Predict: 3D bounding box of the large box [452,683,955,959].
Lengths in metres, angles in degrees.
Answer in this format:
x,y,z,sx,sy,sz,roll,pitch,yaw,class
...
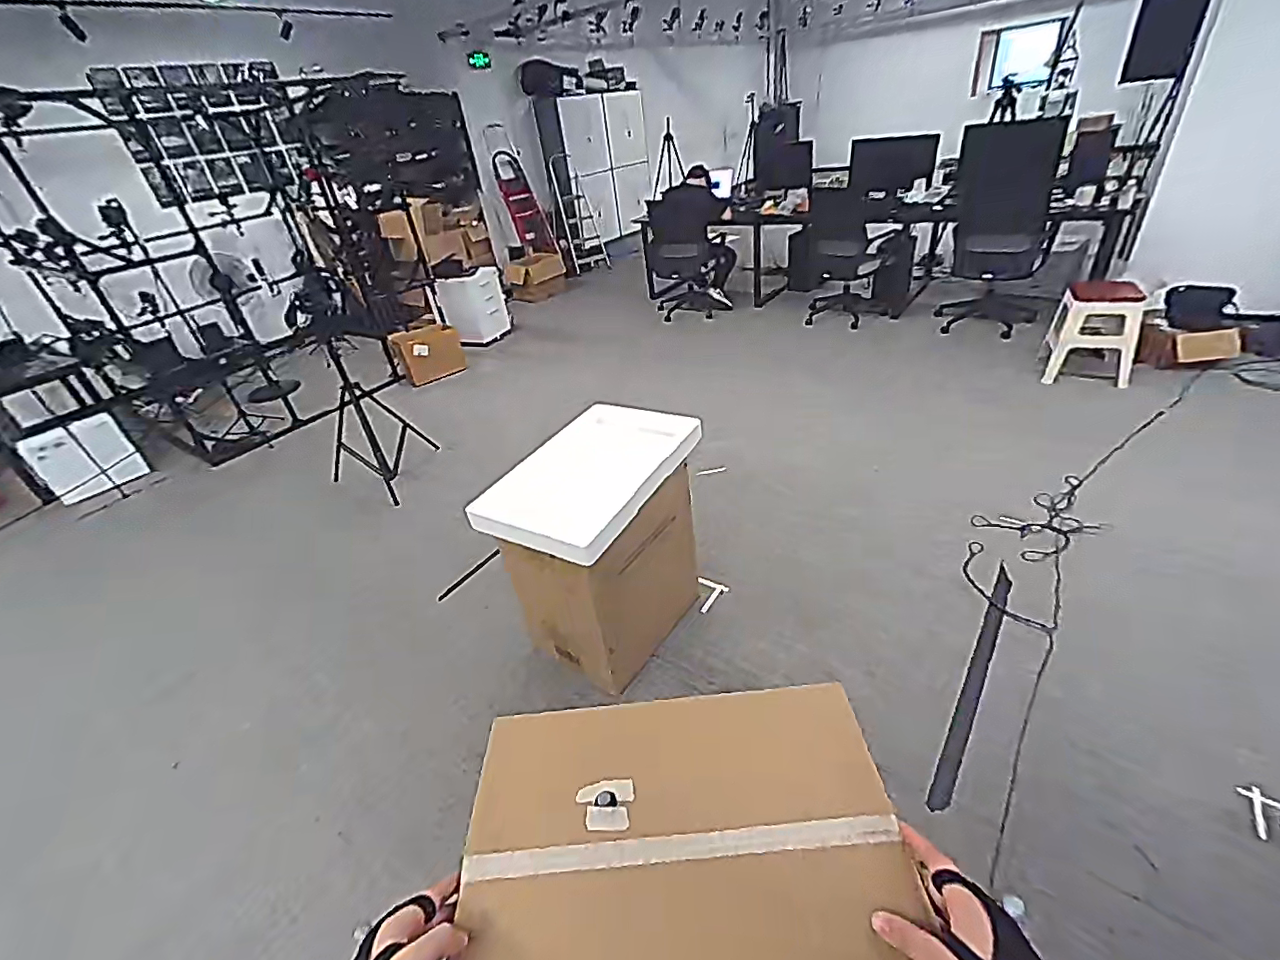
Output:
x,y,z,sx,sy,sz,roll,pitch,yaw,class
0.060,0.463,0.571,0.408,0.320,0.320,-8,32,3,large box
